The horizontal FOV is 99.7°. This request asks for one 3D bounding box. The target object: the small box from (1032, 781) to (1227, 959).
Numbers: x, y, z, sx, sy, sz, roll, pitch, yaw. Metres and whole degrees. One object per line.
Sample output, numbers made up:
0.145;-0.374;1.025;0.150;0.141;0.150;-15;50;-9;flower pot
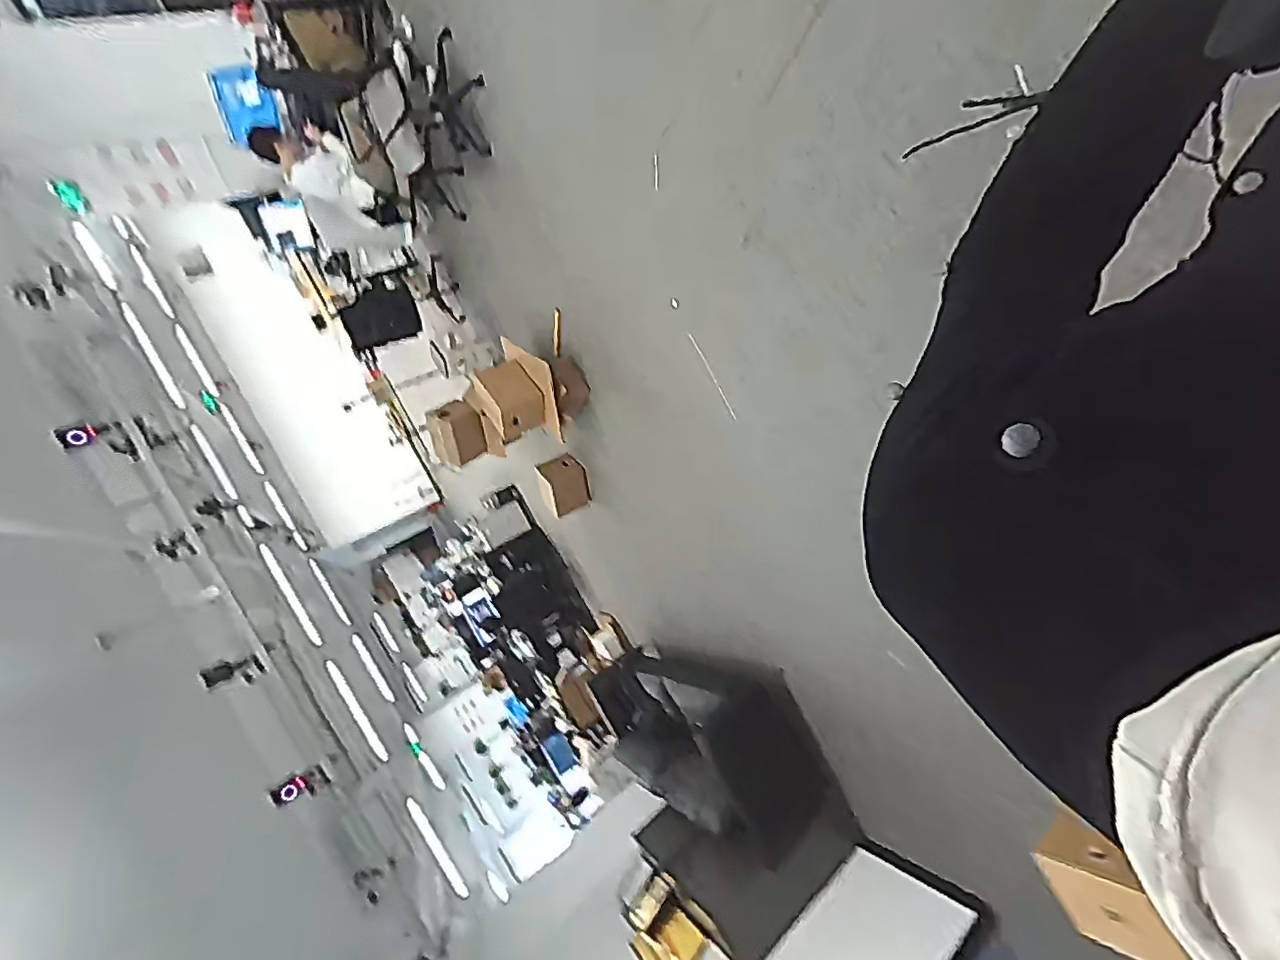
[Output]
0.818;0.643;0.901;0.168;0.176;0.179;59;155;0;small box
